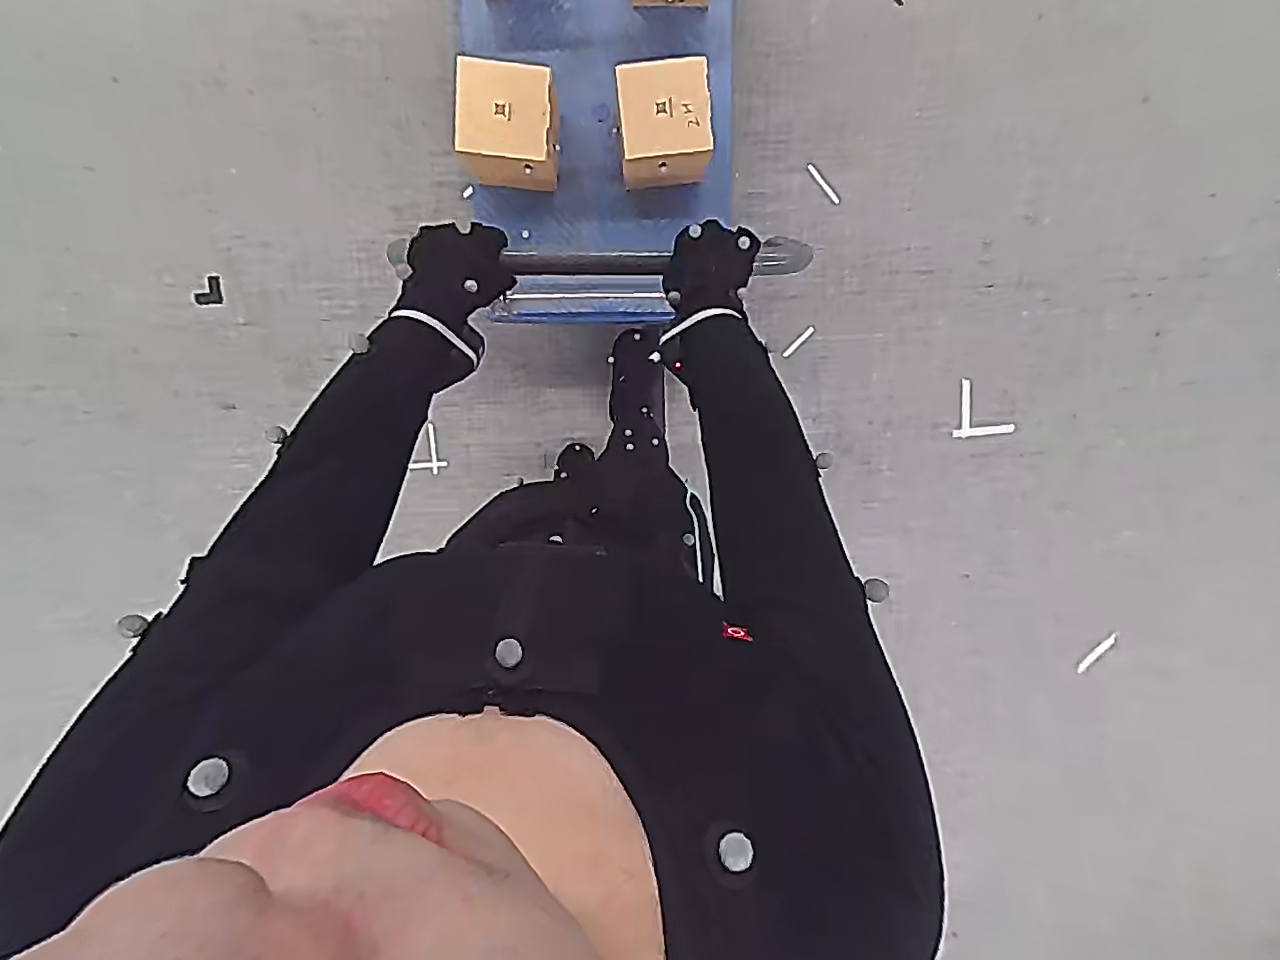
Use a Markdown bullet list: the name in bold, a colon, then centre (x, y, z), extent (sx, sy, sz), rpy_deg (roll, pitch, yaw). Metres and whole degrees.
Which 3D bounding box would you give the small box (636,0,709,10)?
- **small box**: centre (0.068, -1.069, 1.049), extent (0.168, 0.176, 0.179), rpy_deg (-1, 101, -2)

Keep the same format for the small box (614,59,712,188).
- **small box**: centre (0.044, -0.720, 1.112), extent (0.179, 0.176, 0.168), rpy_deg (-6, 101, -1)

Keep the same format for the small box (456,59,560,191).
- **small box**: centre (-0.263, -0.710, 1.101), extent (0.179, 0.176, 0.168), rpy_deg (4, 100, -5)
